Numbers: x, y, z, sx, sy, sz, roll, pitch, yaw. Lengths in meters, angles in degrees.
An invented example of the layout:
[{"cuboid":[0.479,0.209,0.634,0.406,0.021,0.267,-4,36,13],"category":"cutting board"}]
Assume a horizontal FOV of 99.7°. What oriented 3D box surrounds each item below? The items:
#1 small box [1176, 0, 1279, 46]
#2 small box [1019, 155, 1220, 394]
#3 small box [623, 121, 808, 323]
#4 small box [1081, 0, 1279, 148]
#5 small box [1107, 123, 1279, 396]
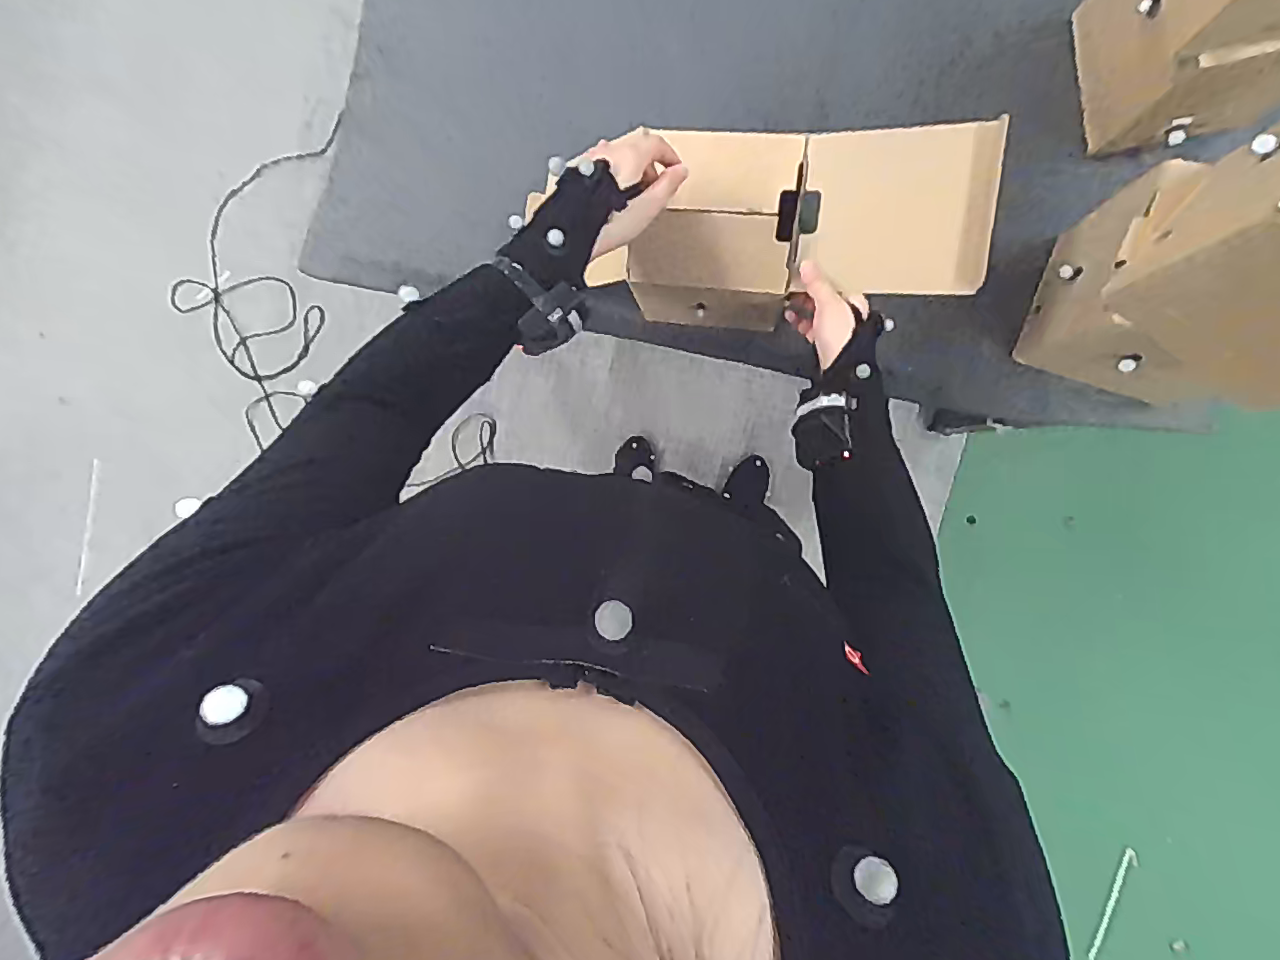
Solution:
[{"cuboid":[0.553,-0.483,0.401,0.168,0.176,0.179,-4,93,12],"category":"small box"},{"cuboid":[0.558,-0.202,0.580,0.179,0.176,0.168,20,93,7],"category":"small box"},{"cuboid":[0.090,-0.292,0.645,0.179,0.176,0.168,8,93,10],"category":"small box"},{"cuboid":[0.599,-0.489,0.560,0.168,0.176,0.179,-7,94,11],"category":"small box"},{"cuboid":[0.536,-0.184,0.418,0.179,0.176,0.168,42,95,4],"category":"small box"}]
